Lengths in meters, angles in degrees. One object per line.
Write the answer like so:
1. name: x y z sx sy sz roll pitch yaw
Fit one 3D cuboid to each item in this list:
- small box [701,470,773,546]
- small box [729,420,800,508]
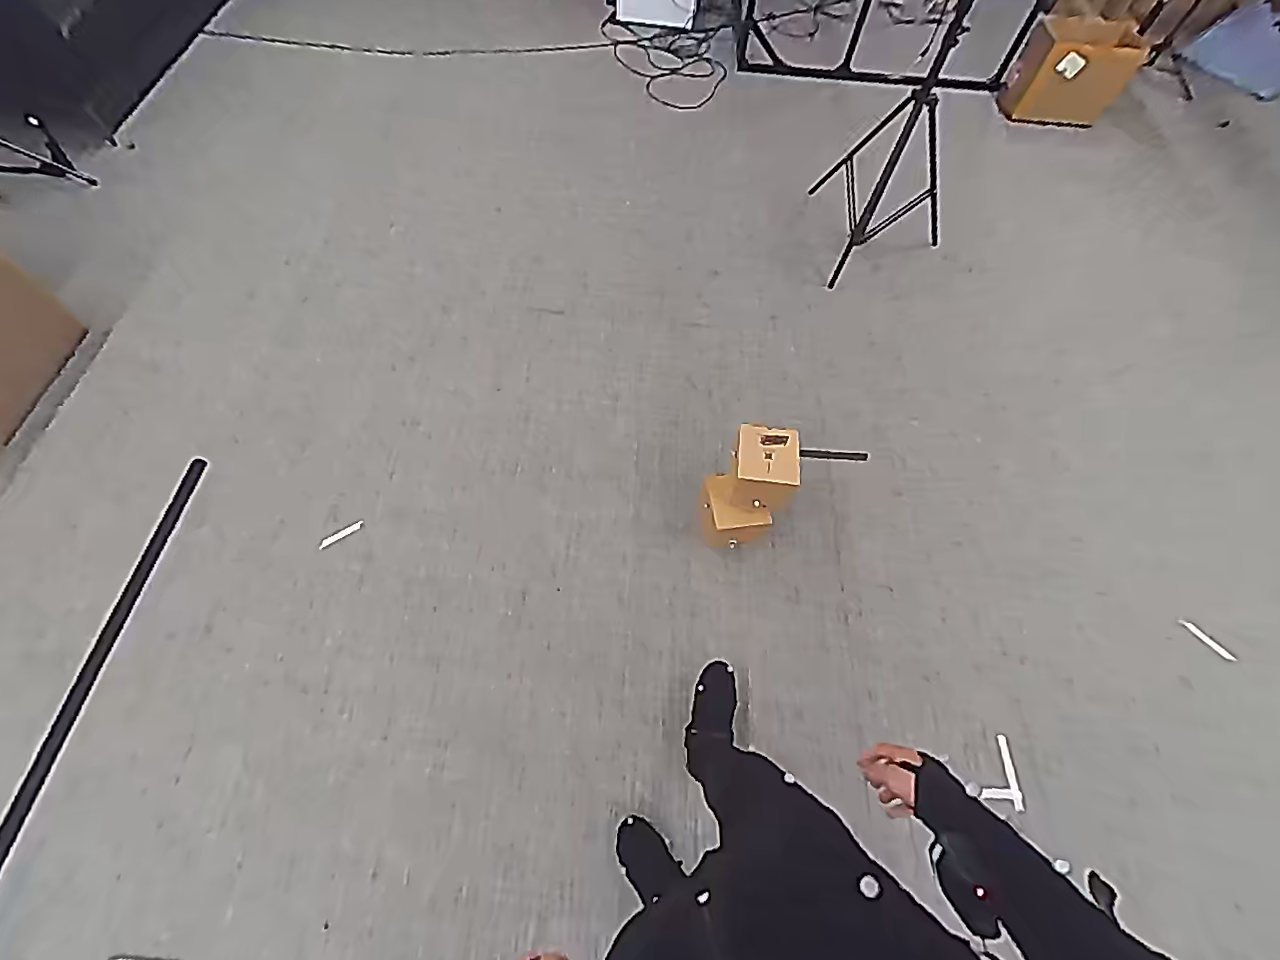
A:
1. small box: 0.285 0.083 1.635 0.168 0.176 0.179 -6 63 -5
2. small box: 0.345 -0.042 1.519 0.168 0.176 0.179 7 62 3
